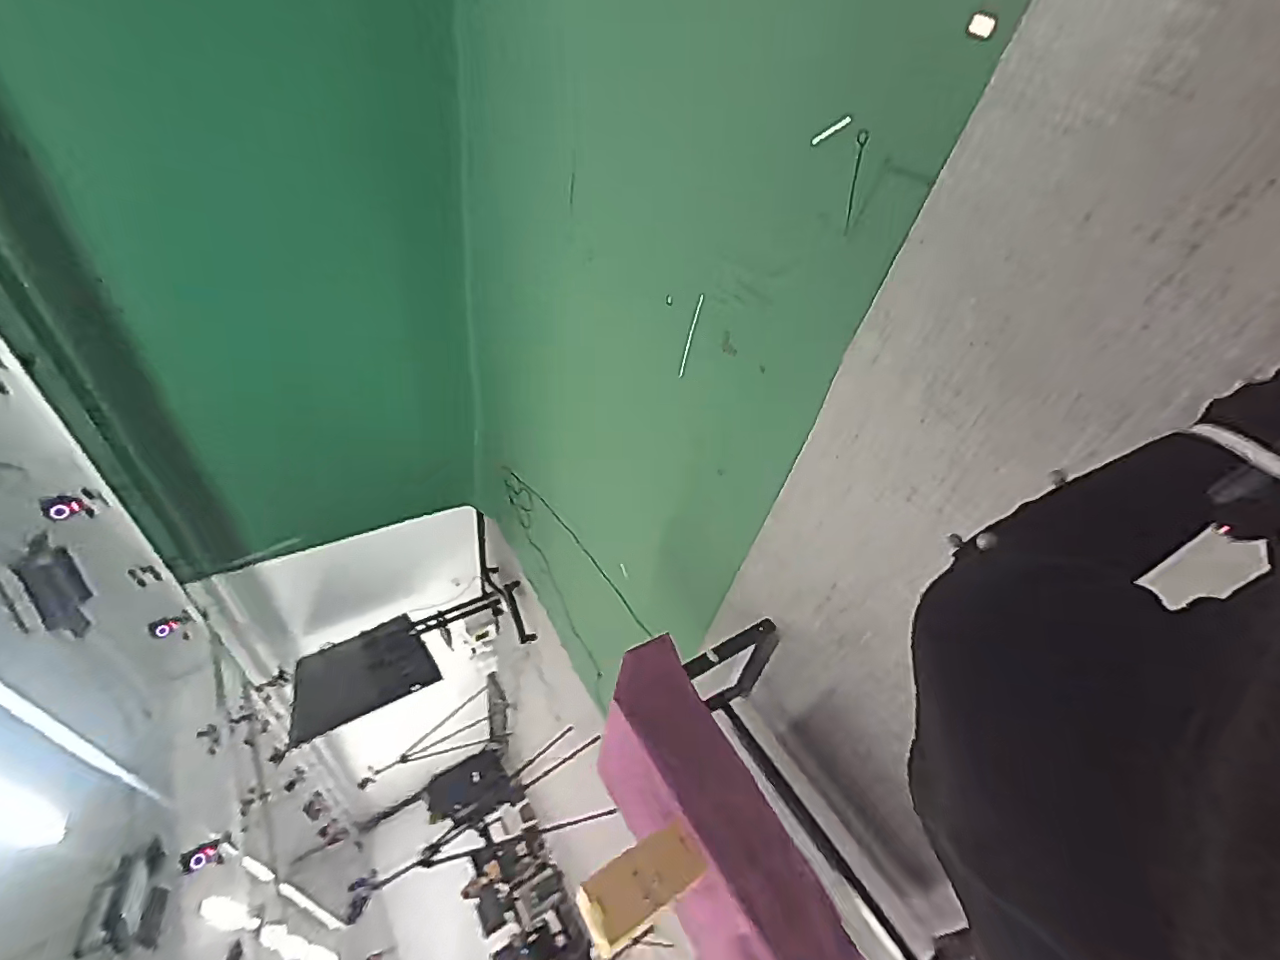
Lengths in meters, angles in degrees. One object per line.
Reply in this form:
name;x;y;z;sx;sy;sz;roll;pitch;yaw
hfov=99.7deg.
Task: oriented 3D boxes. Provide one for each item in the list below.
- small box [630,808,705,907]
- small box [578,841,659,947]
small box;0.075;1.136;1.630;0.168;0.176;0.179;48;144;34
small box;-0.062;1.180;1.551;0.168;0.176;0.179;49;144;35
